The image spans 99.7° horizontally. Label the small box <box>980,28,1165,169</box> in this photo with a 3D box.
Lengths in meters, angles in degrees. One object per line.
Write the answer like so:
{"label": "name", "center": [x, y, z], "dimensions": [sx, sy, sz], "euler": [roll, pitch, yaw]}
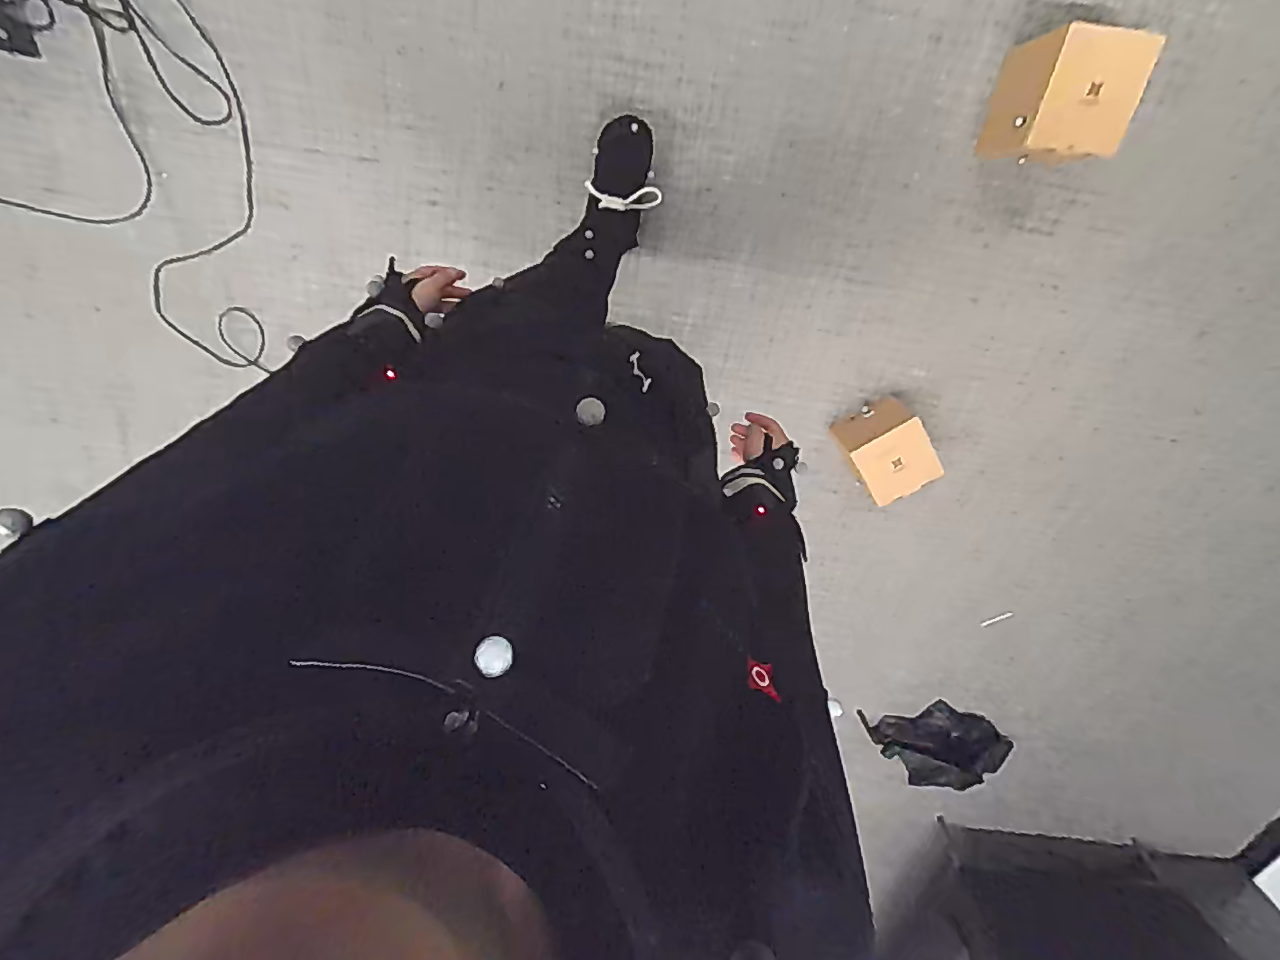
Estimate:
{"label": "small box", "center": [0.762, -0.676, 0.979], "dimensions": [0.168, 0.176, 0.179], "euler": [5, 118, -2]}

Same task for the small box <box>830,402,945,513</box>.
{"label": "small box", "center": [0.586, -0.059, 1.297], "dimensions": [0.168, 0.176, 0.179], "euler": [-32, 112, 14]}
